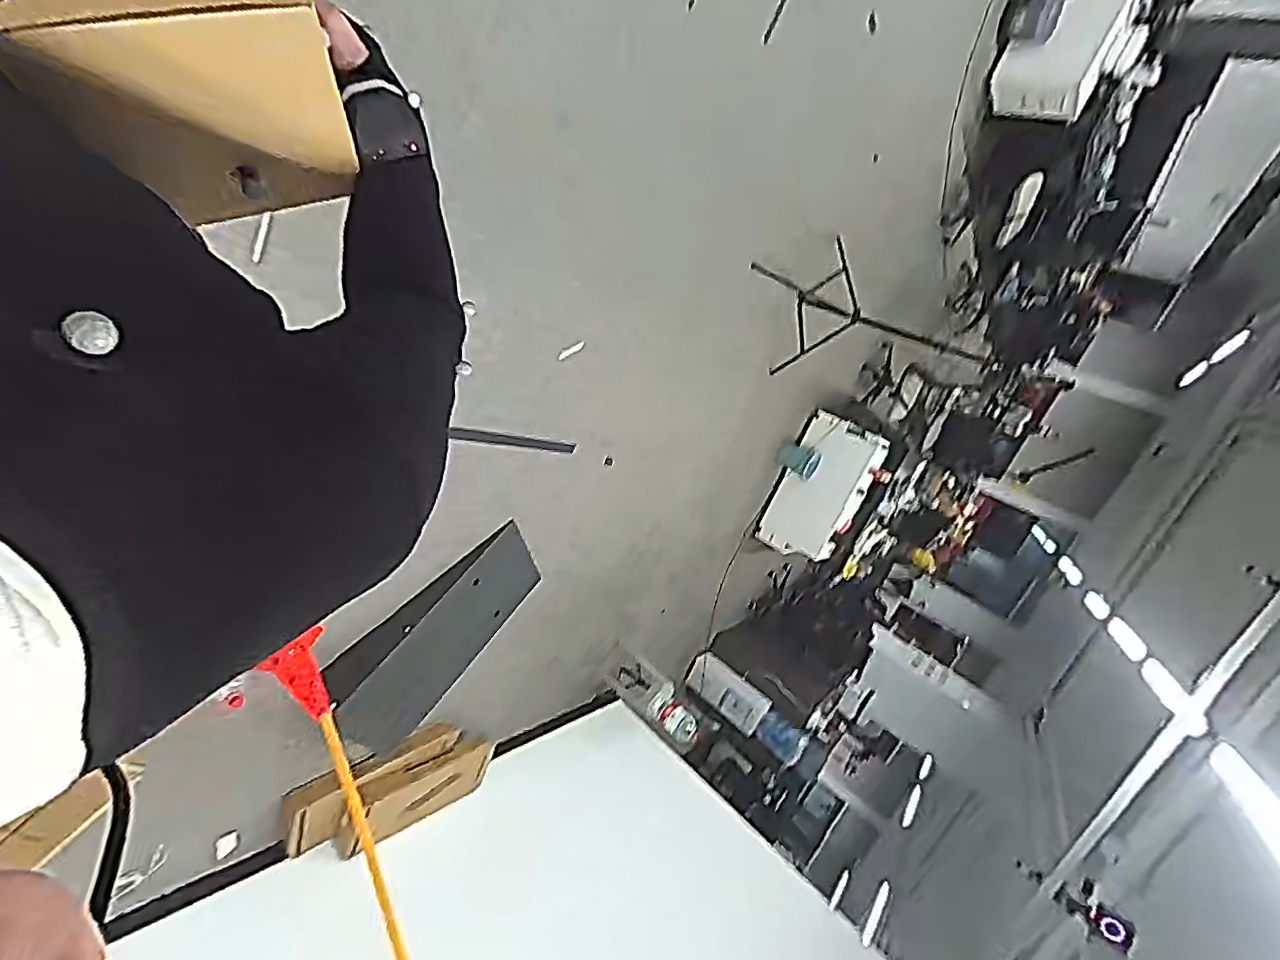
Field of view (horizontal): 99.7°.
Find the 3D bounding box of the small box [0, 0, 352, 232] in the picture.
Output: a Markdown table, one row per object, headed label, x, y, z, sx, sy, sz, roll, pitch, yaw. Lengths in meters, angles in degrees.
| label | x | y | z | sx | sy | sz | roll | pitch | yaw |
| --- | --- | --- | --- | --- | --- | --- | --- | --- | --- |
| small box | -0.346 | -0.327 | 0.420 | 0.179 | 0.168 | 0.176 | -24 | 174 | -21 |
